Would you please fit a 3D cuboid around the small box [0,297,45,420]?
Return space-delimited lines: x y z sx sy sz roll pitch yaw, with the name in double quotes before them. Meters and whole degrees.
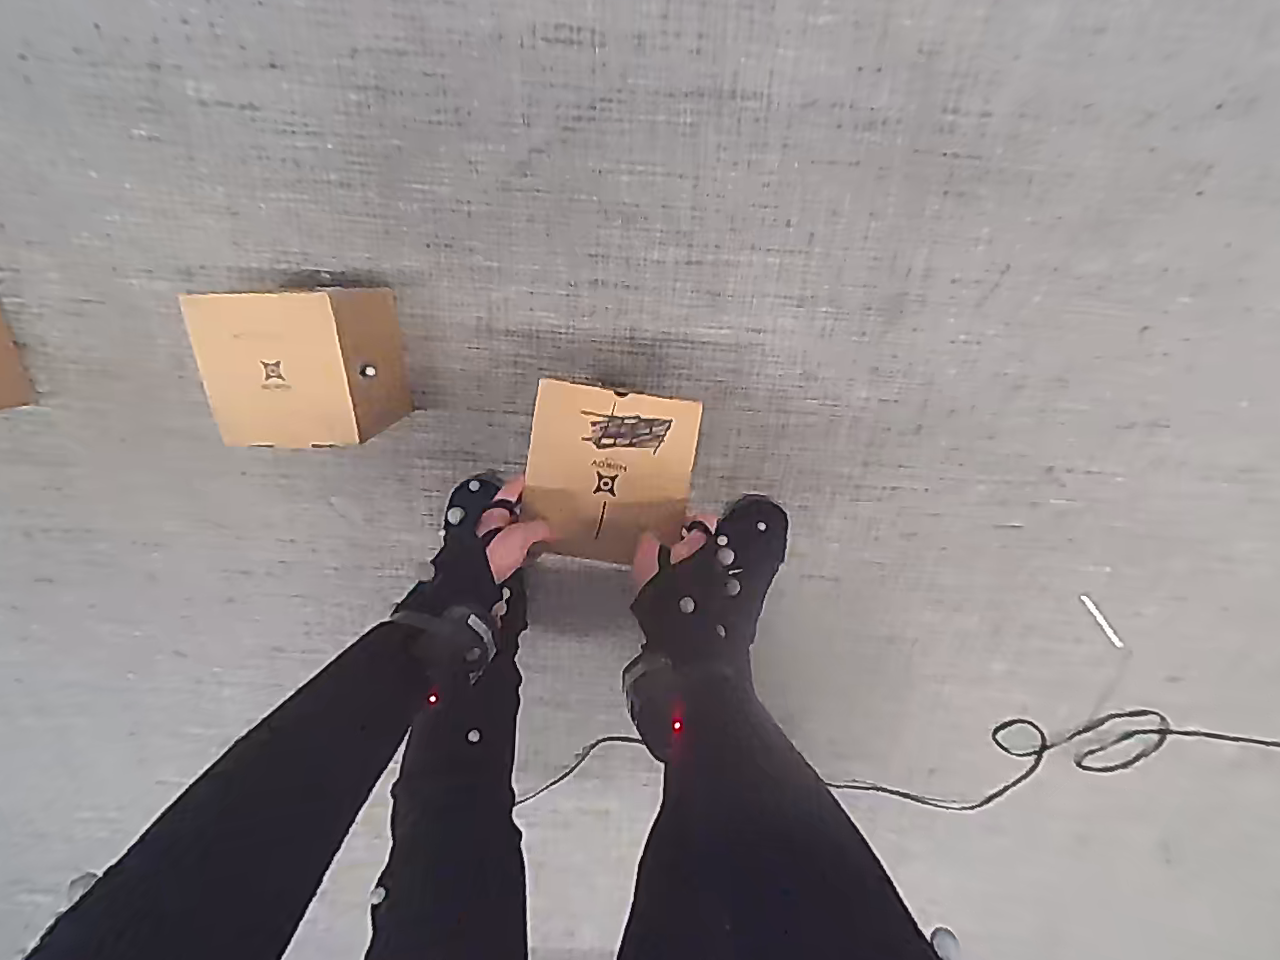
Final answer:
"small box" -0.959 -0.156 0.703 0.168 0.176 0.179 0 112 1

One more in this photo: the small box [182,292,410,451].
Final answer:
"small box" -0.417 -0.145 0.694 0.168 0.176 0.179 -2 110 1

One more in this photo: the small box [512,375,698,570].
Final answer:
"small box" -0.036 -0.010 0.618 0.168 0.176 0.179 9 93 1
